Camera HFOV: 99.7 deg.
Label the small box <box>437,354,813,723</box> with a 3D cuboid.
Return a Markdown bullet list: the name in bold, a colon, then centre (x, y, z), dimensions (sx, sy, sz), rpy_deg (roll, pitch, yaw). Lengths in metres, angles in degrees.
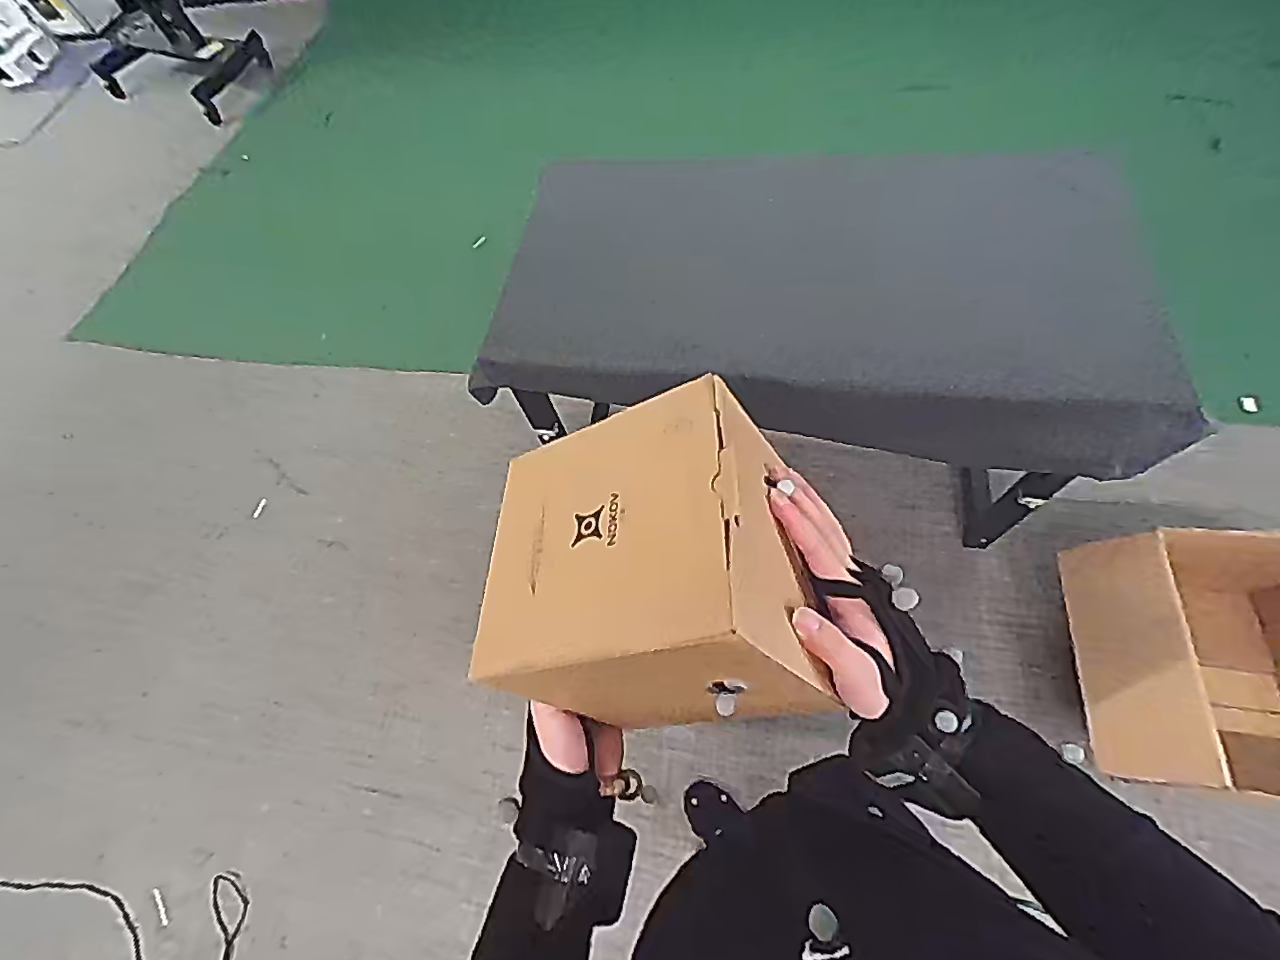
- **small box**: centre (0.003, 0.056, 0.366), dimensions (0.179, 0.176, 0.168), rpy_deg (-21, 48, 28)
